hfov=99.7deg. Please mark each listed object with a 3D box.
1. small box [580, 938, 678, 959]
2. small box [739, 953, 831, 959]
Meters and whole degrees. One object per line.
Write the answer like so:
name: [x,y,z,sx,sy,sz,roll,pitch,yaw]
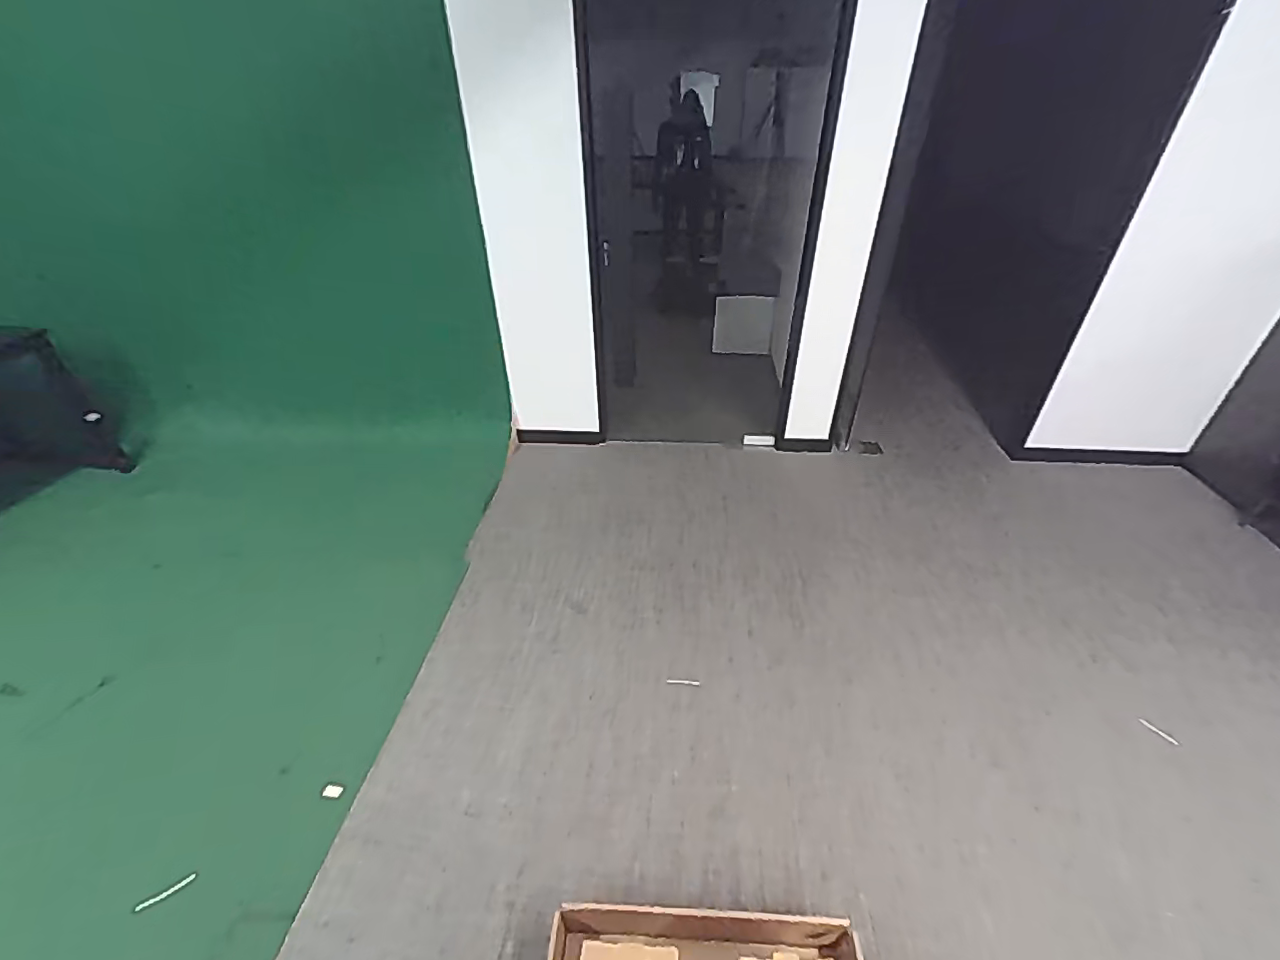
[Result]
small box: [-0.023,0.906,0.904,0.168,0.176,0.179,3,37,3]
small box: [0.242,0.917,0.885,0.168,0.176,0.179,1,36,3]
